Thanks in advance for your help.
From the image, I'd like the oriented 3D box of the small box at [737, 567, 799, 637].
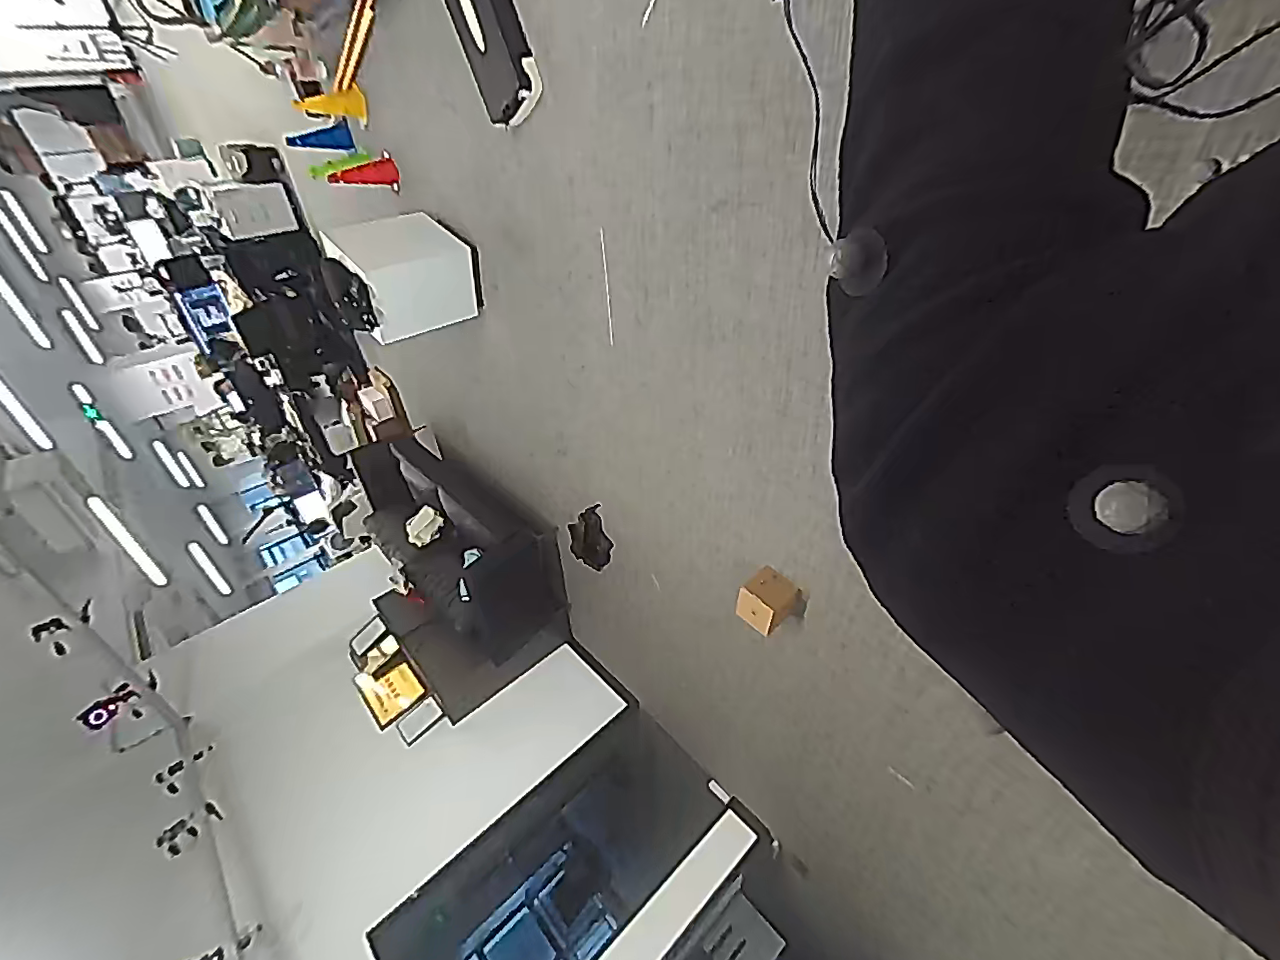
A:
[{"bbox_3d":[0.513,0.483,2.166,0.168,0.176,0.179,36,142,35],"label":"small box"}]
